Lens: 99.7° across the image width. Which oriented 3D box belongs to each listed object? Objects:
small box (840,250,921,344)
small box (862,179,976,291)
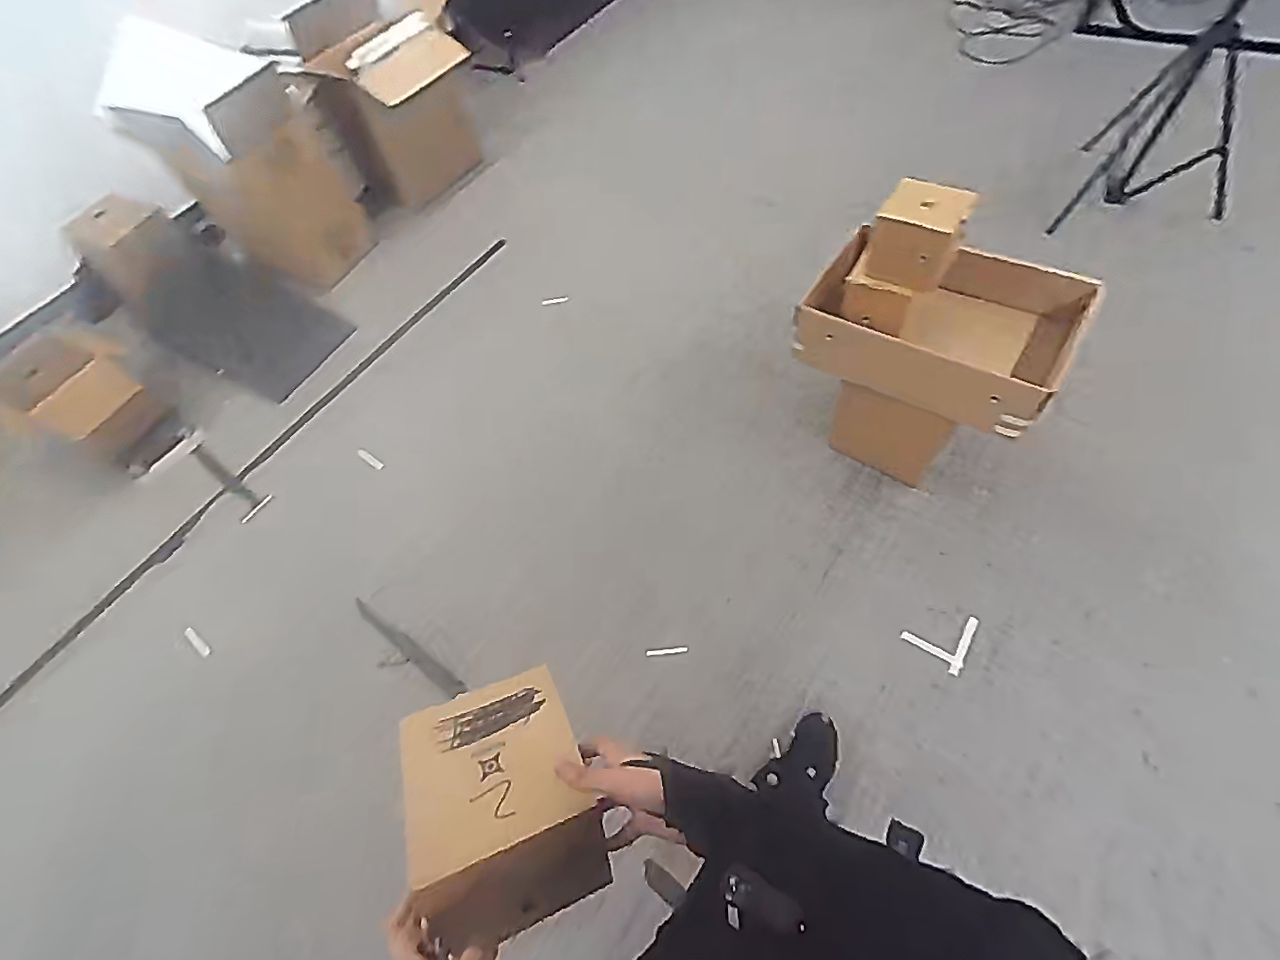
[{"bbox_3d":[0.656,-0.503,1.459,0.168,0.176,0.179,24,66,23],"label":"small box"},{"bbox_3d":[0.670,-0.590,1.315,0.179,0.176,0.168,29,67,24],"label":"small box"}]
